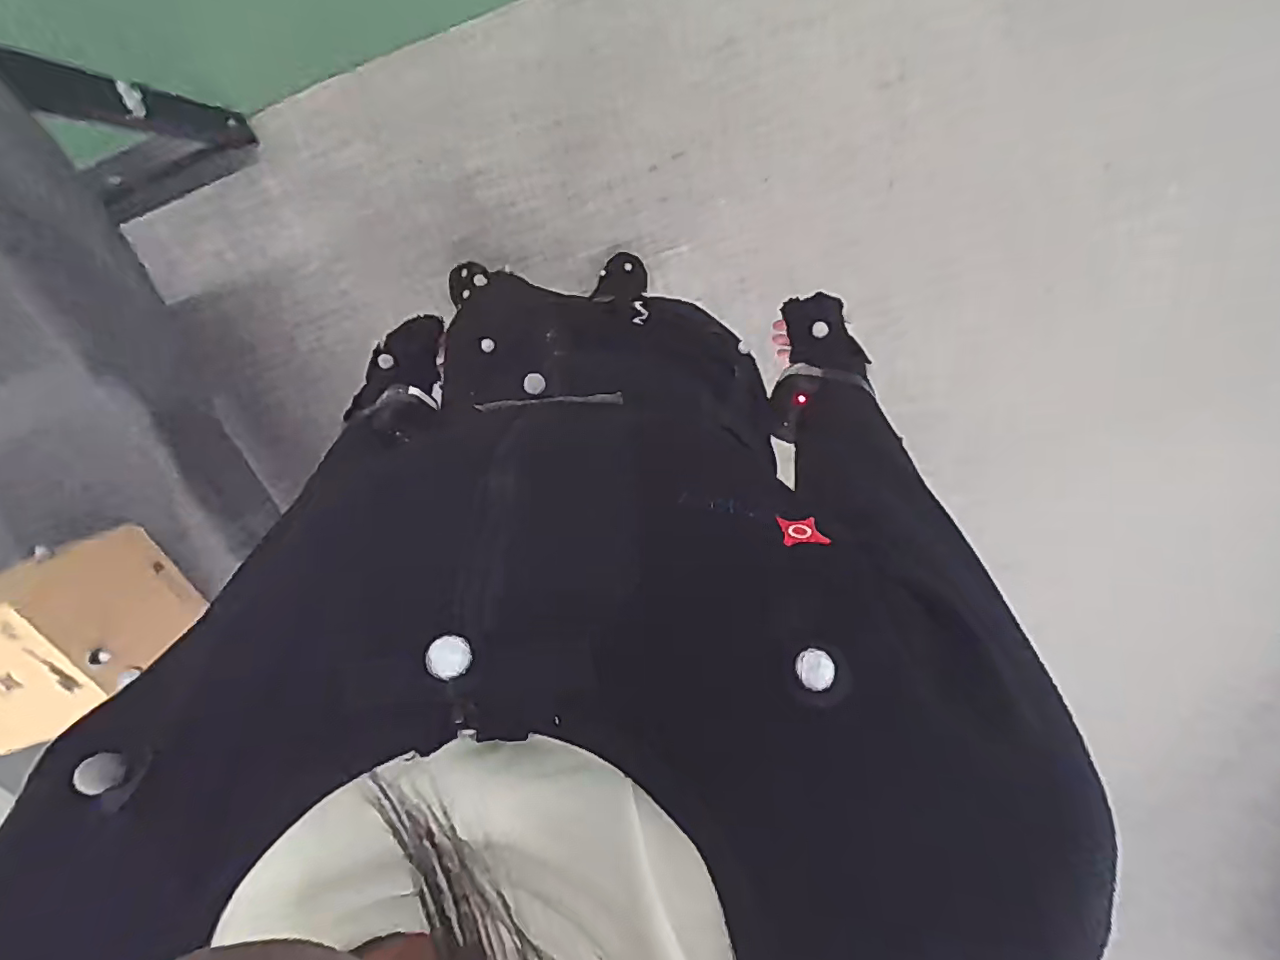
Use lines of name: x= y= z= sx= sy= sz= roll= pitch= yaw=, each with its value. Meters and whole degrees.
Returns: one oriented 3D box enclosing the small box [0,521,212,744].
small box: x=-0.687 y=0.175 z=0.652 sx=0.179 sy=0.176 sz=0.168 roll=-18 pitch=116 yaw=6
